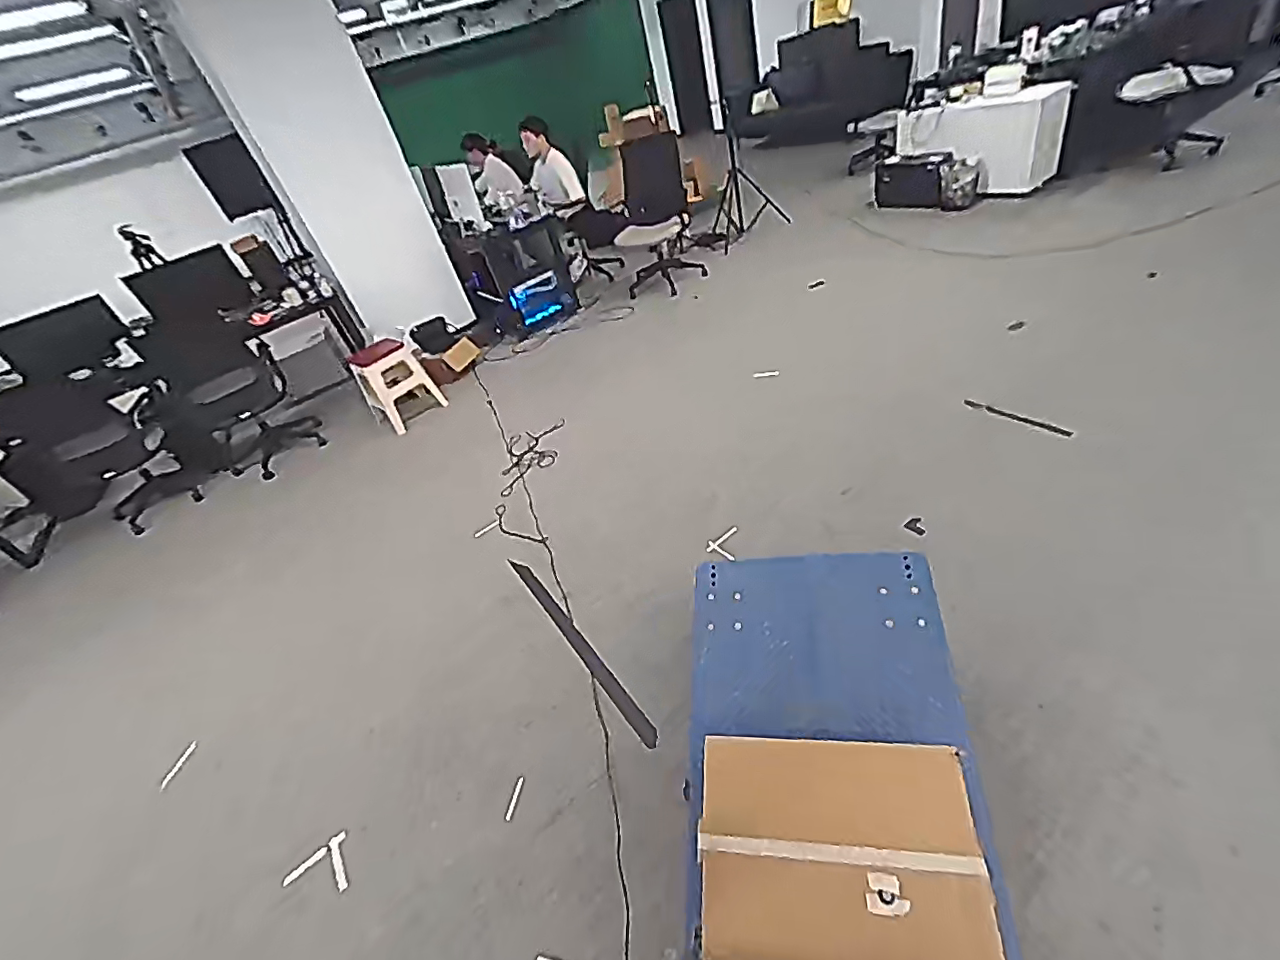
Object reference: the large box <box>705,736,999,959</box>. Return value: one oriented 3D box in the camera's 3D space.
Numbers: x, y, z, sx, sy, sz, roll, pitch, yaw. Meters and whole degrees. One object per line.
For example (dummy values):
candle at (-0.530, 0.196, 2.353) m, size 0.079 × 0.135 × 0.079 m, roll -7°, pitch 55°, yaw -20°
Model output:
large box at (0.337, 0.655, 0.955) m, size 0.408 × 0.320 × 0.320 m, roll -5°, pitch 55°, yaw 15°
